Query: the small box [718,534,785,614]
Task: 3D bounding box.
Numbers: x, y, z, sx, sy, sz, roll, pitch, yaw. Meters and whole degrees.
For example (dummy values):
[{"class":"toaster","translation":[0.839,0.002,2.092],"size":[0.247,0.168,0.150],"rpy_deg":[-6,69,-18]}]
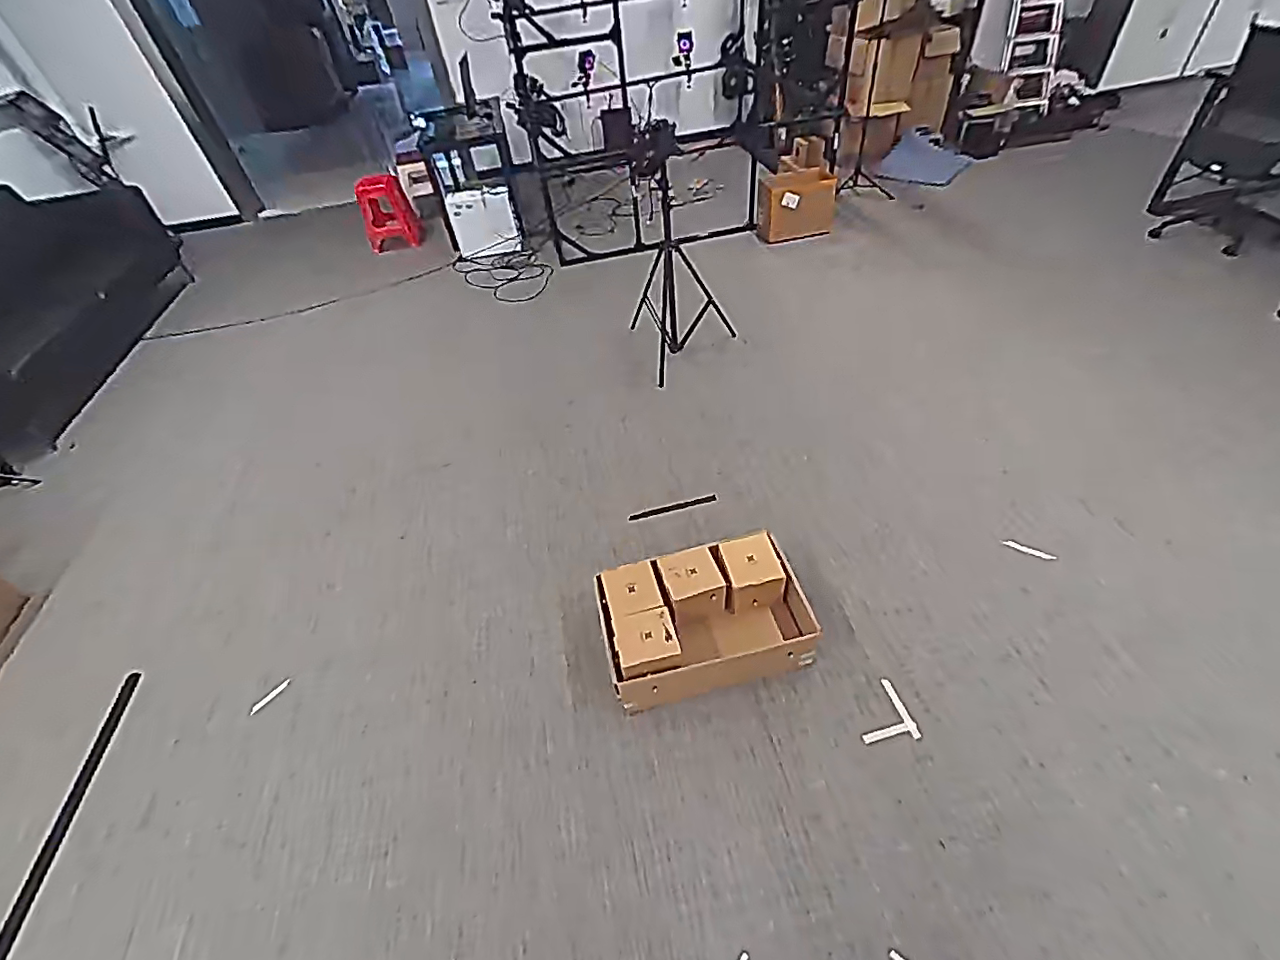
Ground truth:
[{"class":"small box","translation":[0.357,0.308,1.768],"size":[0.168,0.176,0.179],"rpy_deg":[-14,48,-3]}]
